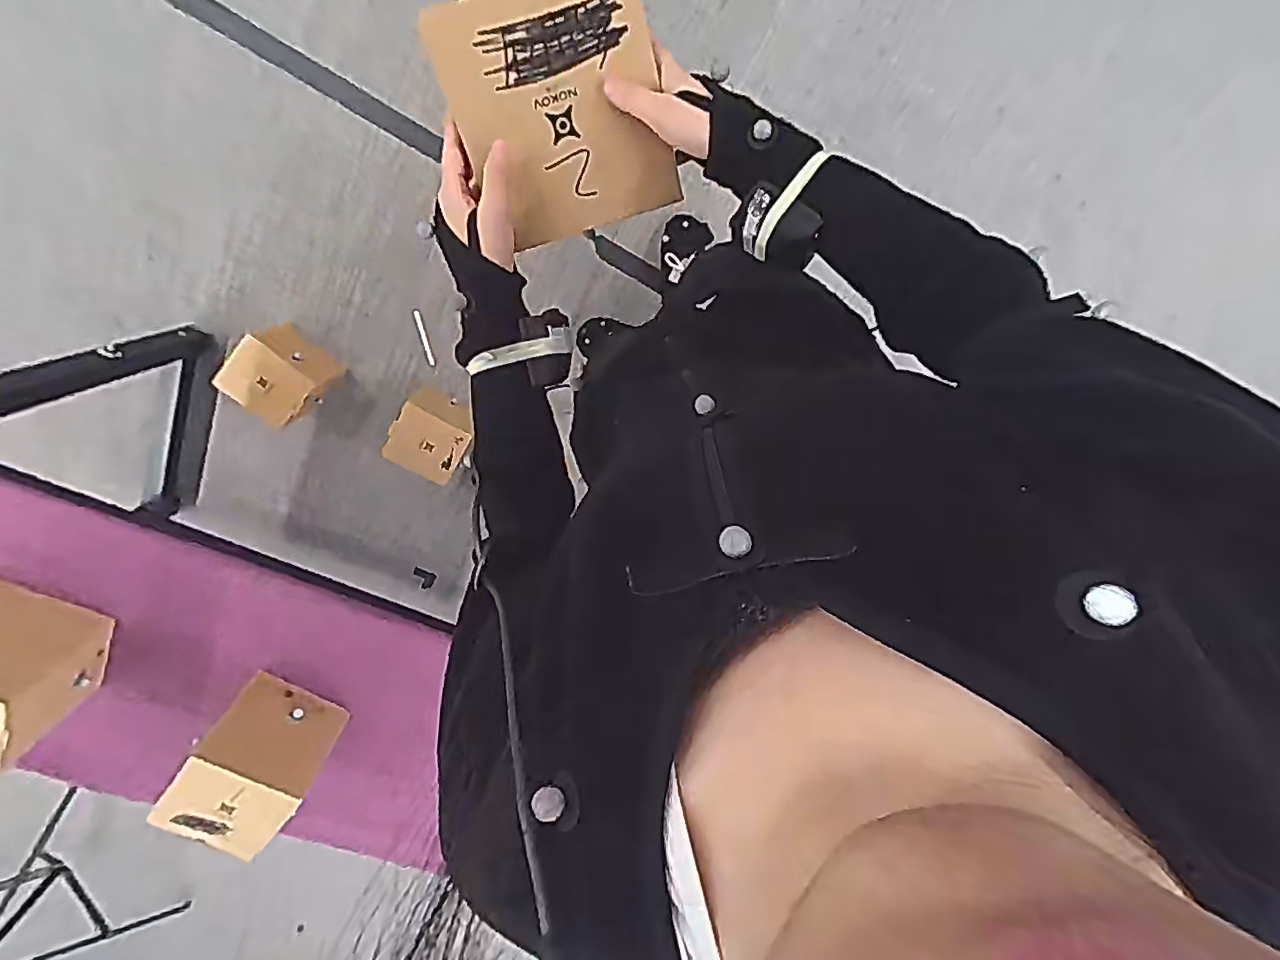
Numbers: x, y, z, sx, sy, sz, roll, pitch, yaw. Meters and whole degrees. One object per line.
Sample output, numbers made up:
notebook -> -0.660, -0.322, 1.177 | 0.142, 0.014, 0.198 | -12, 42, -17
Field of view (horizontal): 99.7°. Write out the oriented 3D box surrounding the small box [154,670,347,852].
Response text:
small box -> -0.617, 0.451, 0.880 | 0.168, 0.176, 0.179 | 37, 108, -18

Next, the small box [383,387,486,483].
small box -> -0.531, -0.127, 1.416 | 0.179, 0.176, 0.168 | 29, 111, -15

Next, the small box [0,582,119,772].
small box -> -0.926, 0.274, 0.780 | 0.179, 0.176, 0.168 | 27, 113, -15

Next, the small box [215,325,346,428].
small box -> -0.876, -0.263, 1.335 | 0.168, 0.176, 0.179 | -42, 111, 16
